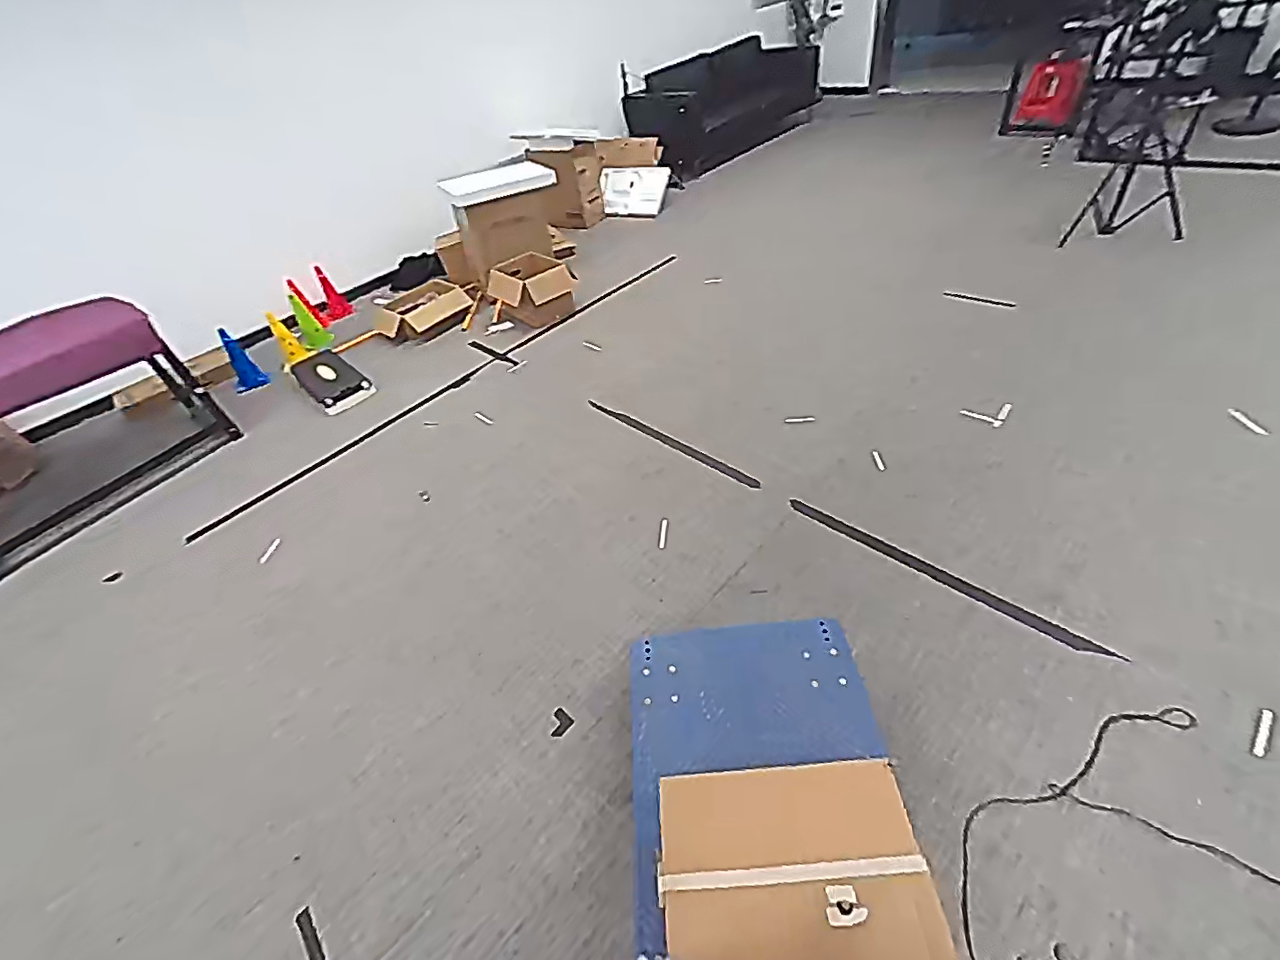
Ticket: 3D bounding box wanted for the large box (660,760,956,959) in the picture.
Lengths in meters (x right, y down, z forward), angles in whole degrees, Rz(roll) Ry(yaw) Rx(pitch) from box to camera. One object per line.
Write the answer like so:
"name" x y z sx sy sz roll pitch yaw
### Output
"large box" 0.256 0.727 0.943 0.408 0.320 0.320 -7 43 3
